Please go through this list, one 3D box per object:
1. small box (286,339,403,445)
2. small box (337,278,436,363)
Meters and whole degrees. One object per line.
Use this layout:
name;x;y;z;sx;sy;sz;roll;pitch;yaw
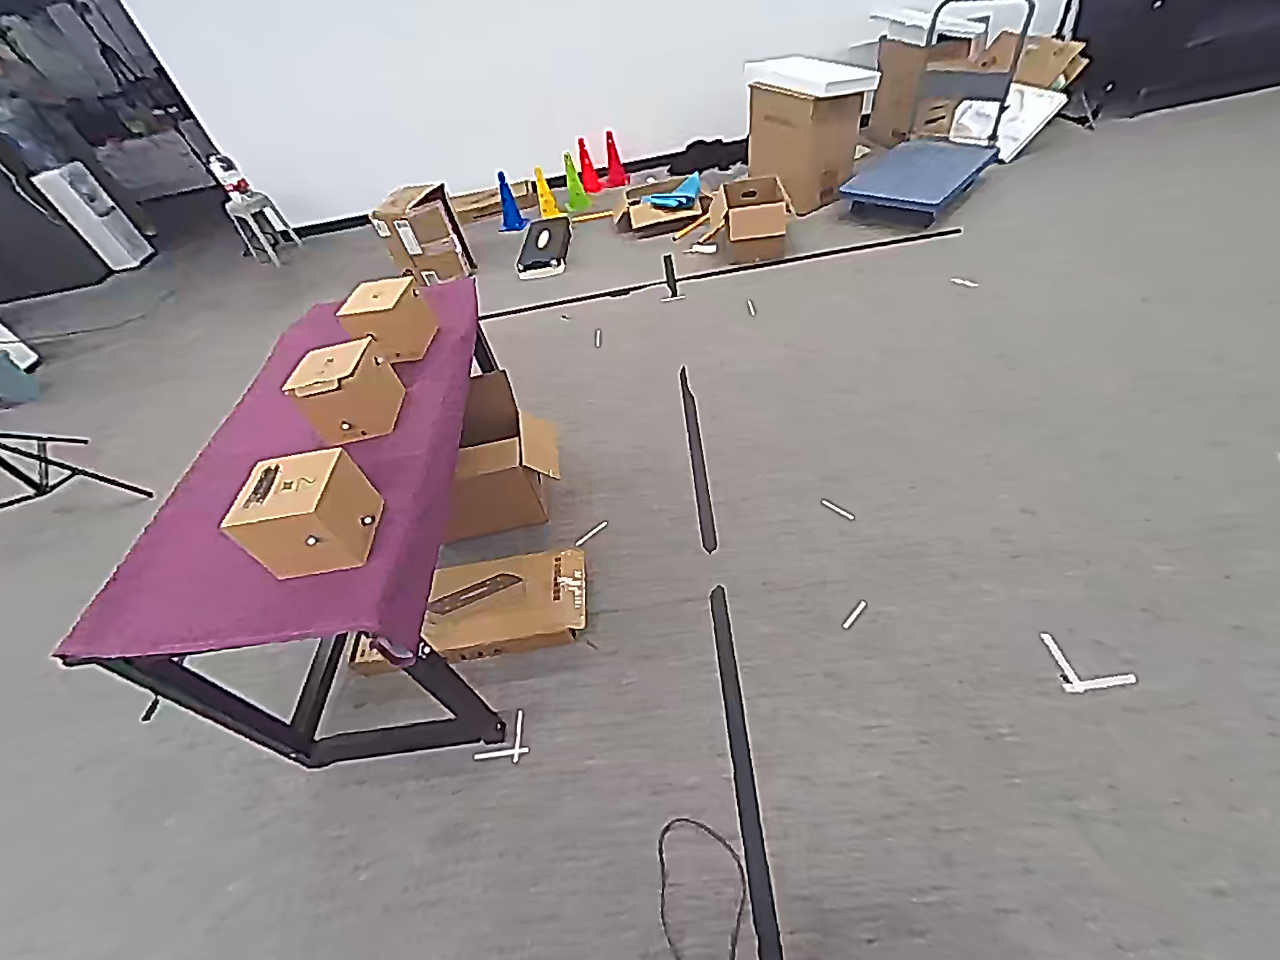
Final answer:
small box;-0.701;-0.211;1.309;0.168;0.176;0.179;-12;46;5
small box;-0.704;-0.443;1.527;0.168;0.176;0.179;-5;47;8
